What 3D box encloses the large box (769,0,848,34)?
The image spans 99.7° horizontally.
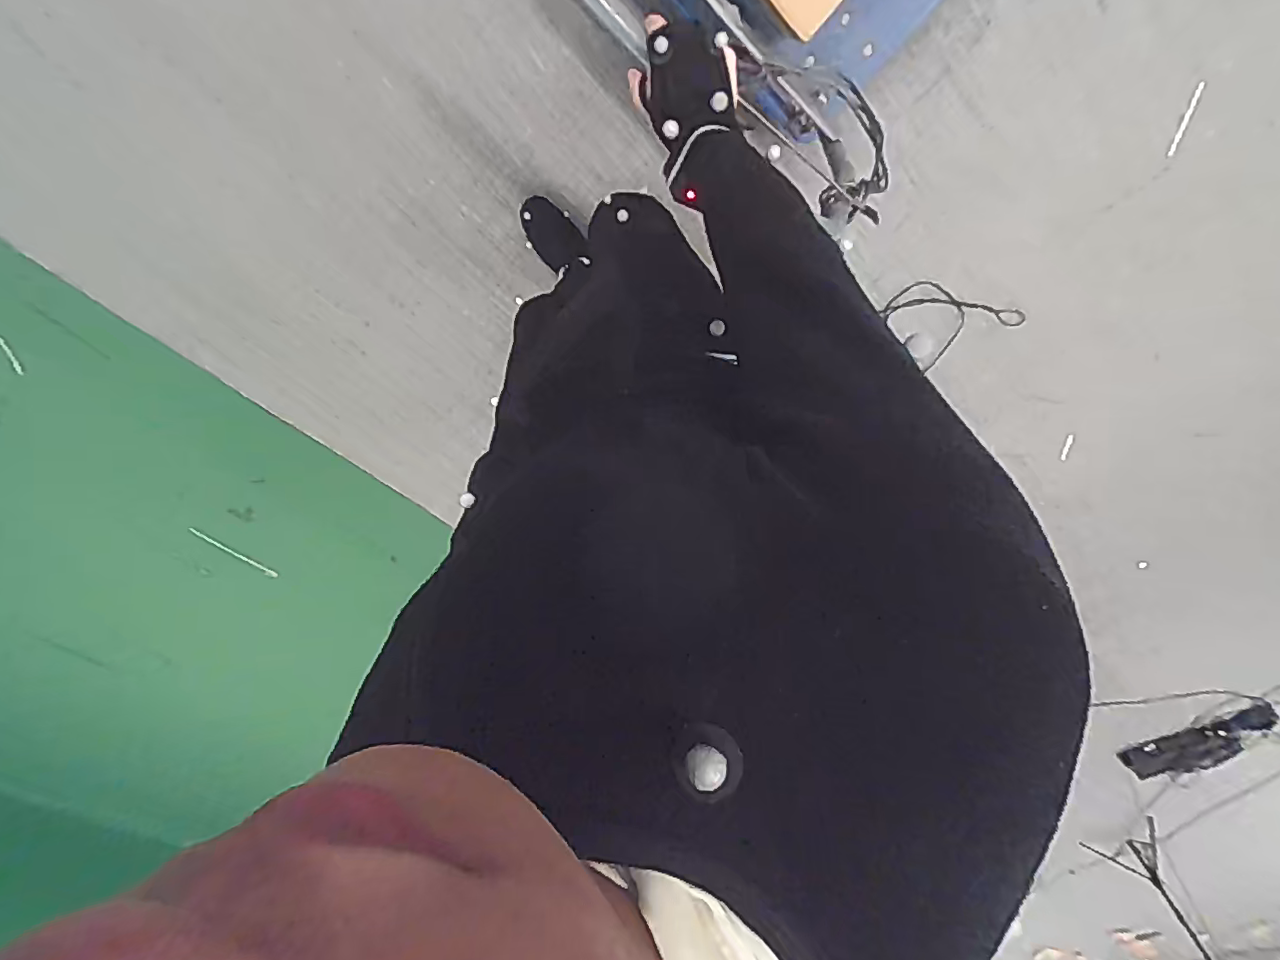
[{"bbox_3d":[0.286,-0.938,0.751,0.320,0.320,0.408,36,126,-21],"label":"large box"}]
